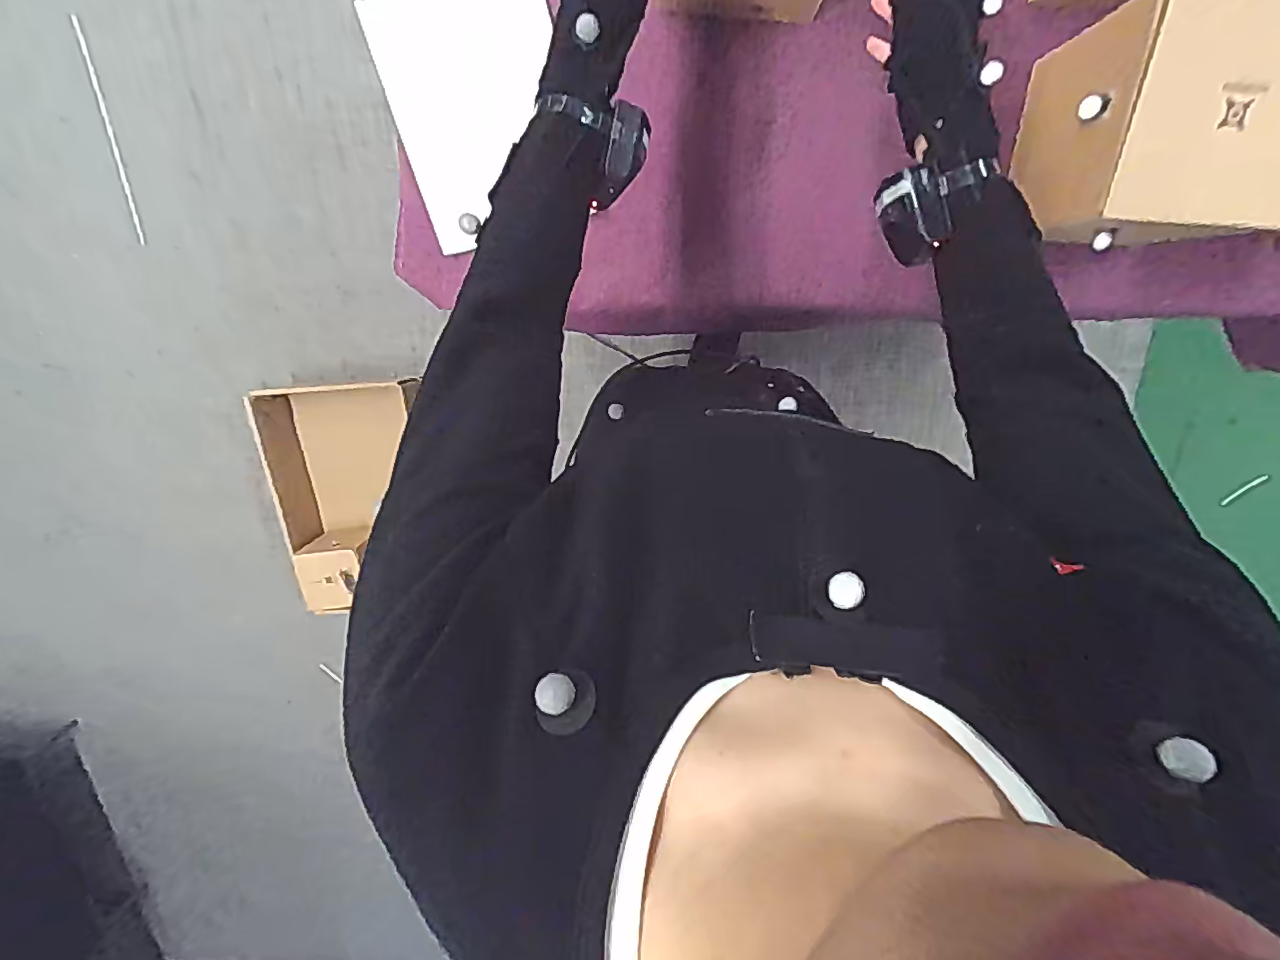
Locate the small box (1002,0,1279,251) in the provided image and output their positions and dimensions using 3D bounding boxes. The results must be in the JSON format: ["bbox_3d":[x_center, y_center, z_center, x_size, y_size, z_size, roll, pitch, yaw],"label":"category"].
[{"bbox_3d":[0.491,-0.322,0.521,0.168,0.176,0.179,5,109,2],"label":"small box"}]
